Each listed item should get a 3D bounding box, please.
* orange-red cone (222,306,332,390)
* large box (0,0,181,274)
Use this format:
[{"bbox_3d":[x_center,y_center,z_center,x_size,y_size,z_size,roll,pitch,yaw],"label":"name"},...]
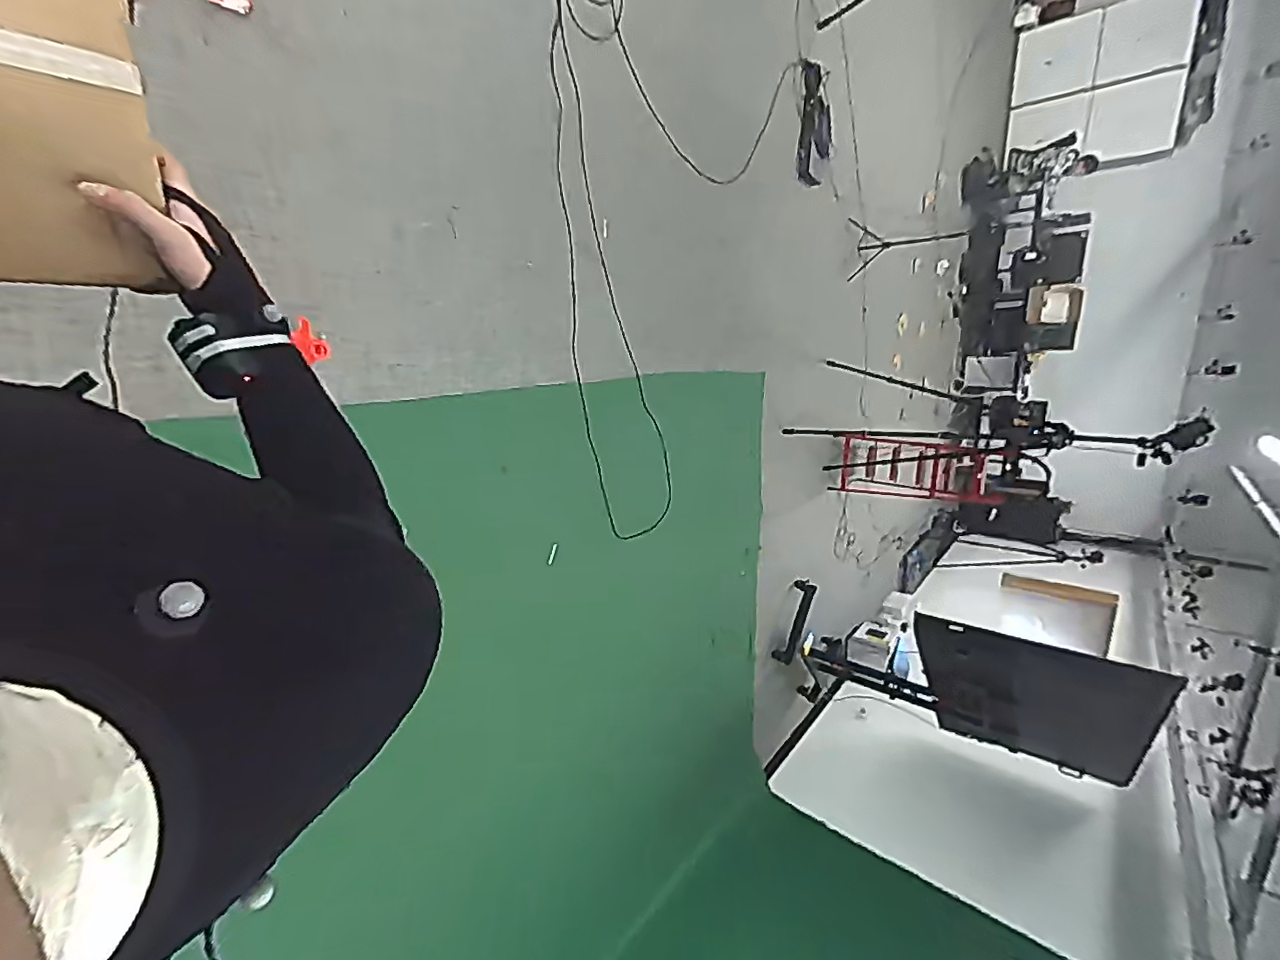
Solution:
[{"bbox_3d":[-0.824,-0.309,1.287,0.199,0.360,0.198,-7,104,-51],"label":"orange-red cone"},{"bbox_3d":[-0.644,-0.335,0.392,0.408,0.320,0.320,-15,121,-43],"label":"large box"}]
